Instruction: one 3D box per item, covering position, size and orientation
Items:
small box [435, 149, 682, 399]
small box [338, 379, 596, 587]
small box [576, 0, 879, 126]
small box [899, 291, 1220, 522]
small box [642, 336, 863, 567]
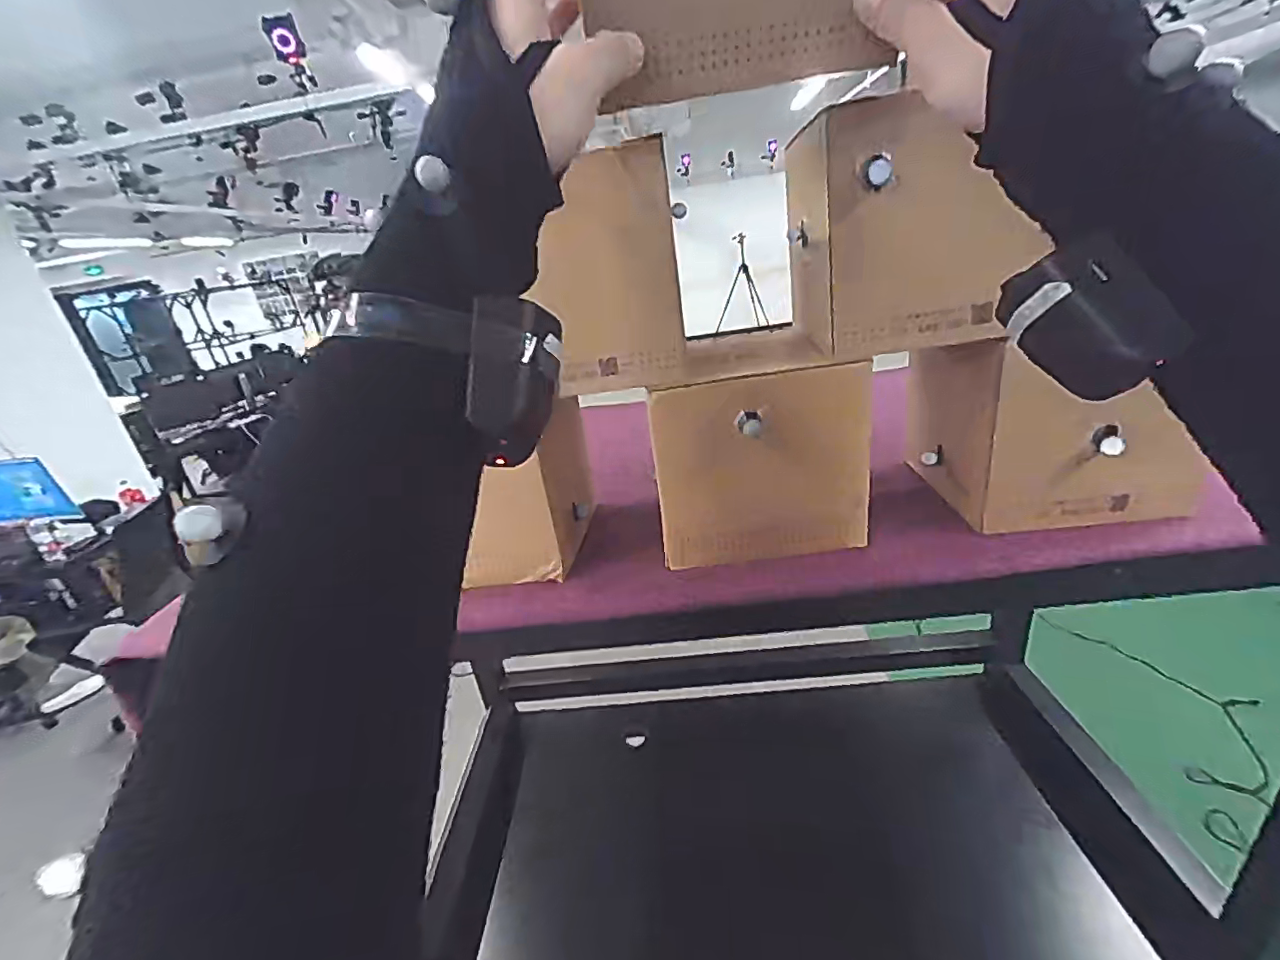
[{"bbox_3d":[-0.053,-0.174,0.489,0.168,0.176,0.179,-7,21,5],"label":"small box"},{"bbox_3d":[-0.155,-0.004,0.550,0.179,0.176,0.168,-4,22,9],"label":"small box"},{"bbox_3d":[0.047,-0.341,0.334,0.179,0.176,0.168,-6,45,7],"label":"small box"},{"bbox_3d":[0.357,-0.069,0.505,0.168,0.176,0.179,-6,23,7],"label":"small box"},{"bbox_3d":[0.099,-0.033,0.527,0.179,0.176,0.168,-8,22,4],"label":"small box"}]
